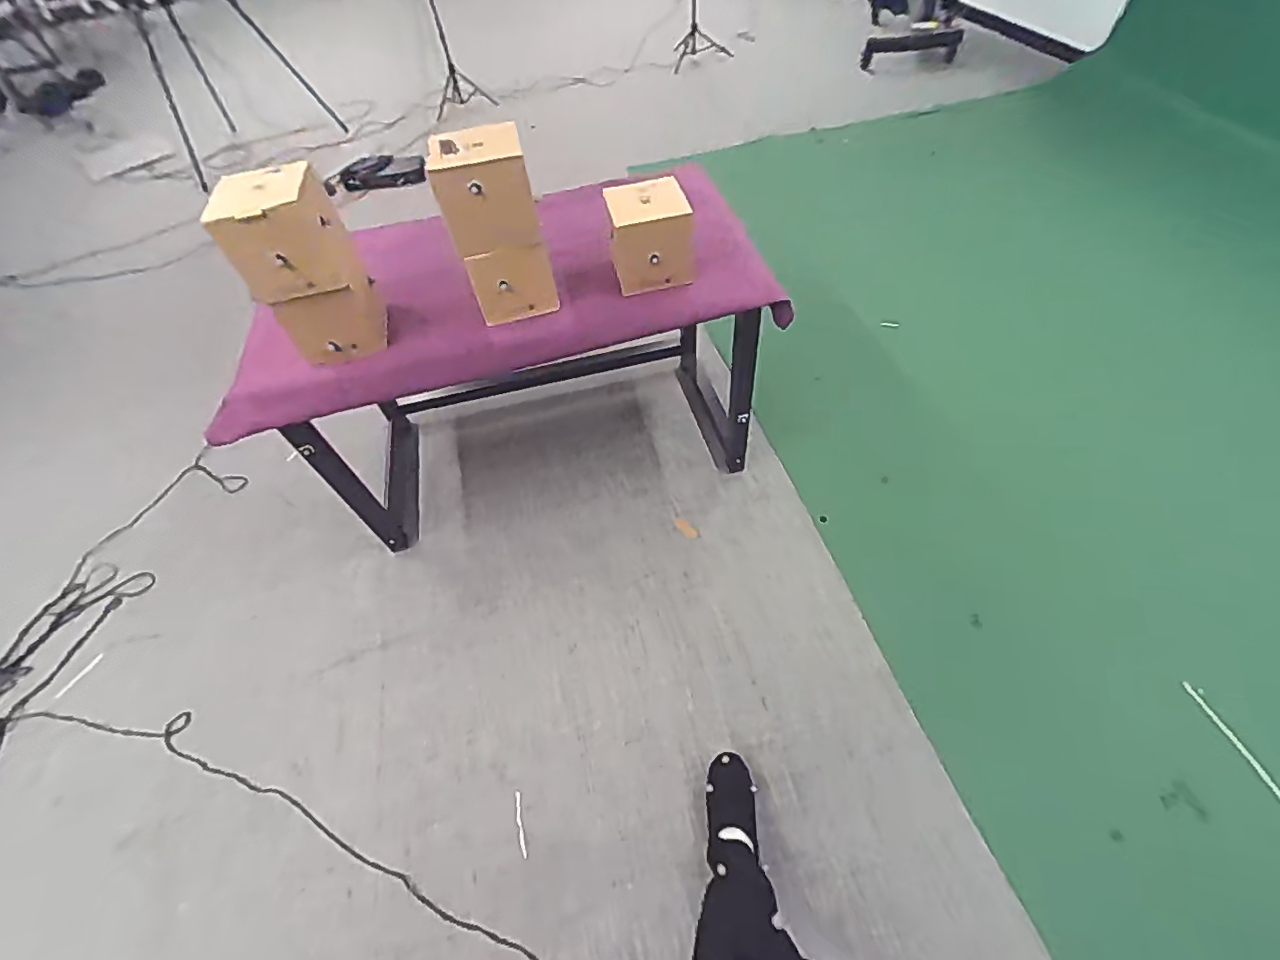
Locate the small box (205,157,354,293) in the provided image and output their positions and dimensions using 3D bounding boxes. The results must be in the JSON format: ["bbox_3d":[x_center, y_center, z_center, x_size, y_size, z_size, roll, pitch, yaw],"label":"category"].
[{"bbox_3d":[-0.670,-0.478,1.032,0.168,0.176,0.179,-13,54,-4],"label":"small box"}]

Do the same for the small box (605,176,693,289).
[{"bbox_3d":[0.023,-0.550,1.220,0.168,0.176,0.179,-11,53,-3],"label":"small box"}]

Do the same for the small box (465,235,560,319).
[{"bbox_3d":[-0.284,-0.478,1.200,0.168,0.176,0.179,-15,52,-5],"label":"small box"}]

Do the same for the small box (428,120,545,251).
[{"bbox_3d":[-0.297,-0.576,1.068,0.179,0.176,0.168,-12,53,-4],"label":"small box"}]

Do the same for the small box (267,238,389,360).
[{"bbox_3d":[-0.661,-0.389,1.170,0.168,0.176,0.179,-15,54,-5],"label":"small box"}]
